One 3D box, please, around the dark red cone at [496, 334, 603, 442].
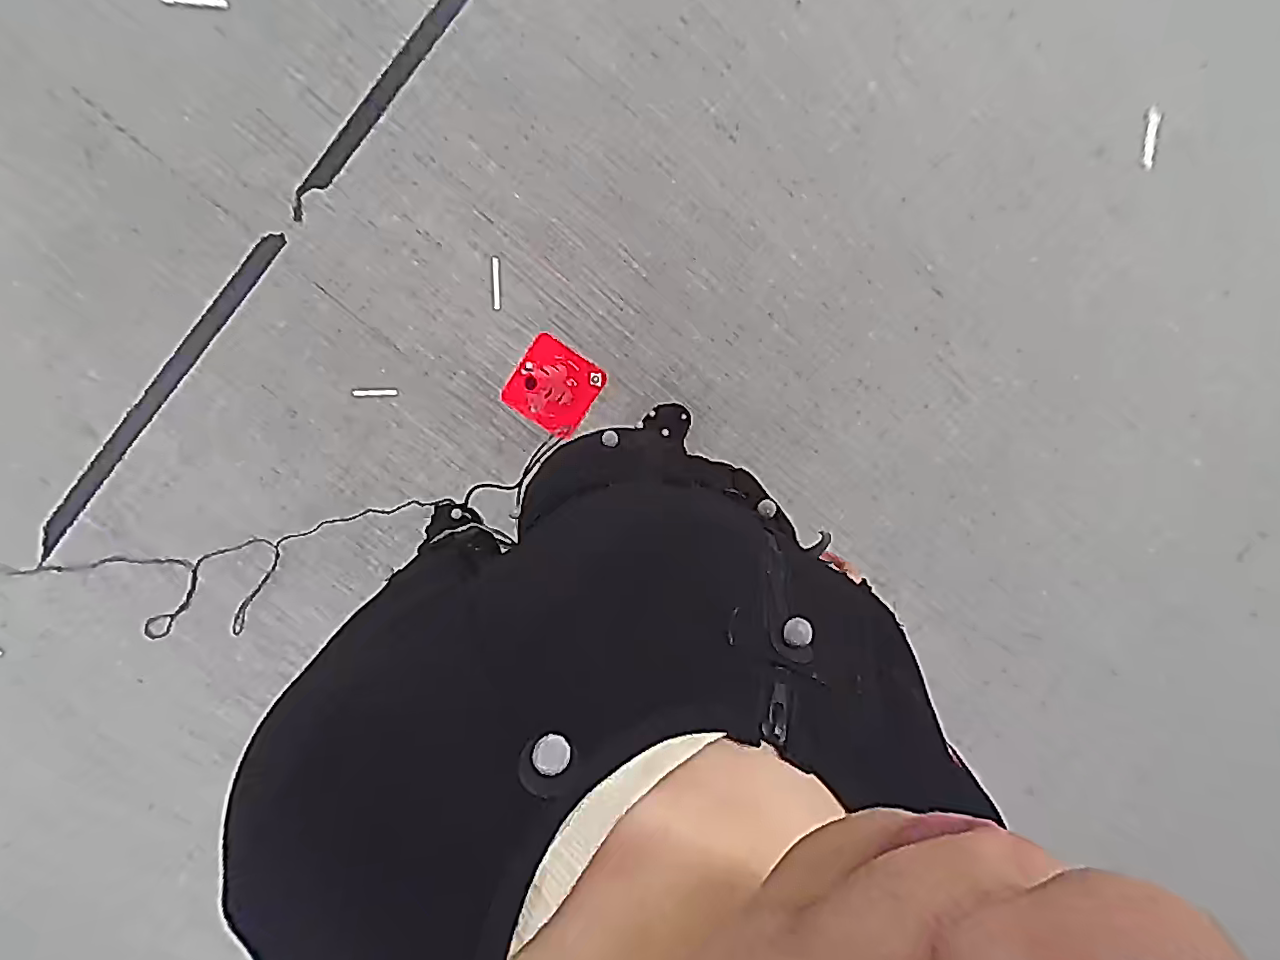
[{"bbox_3d":[-0.211,-0.192,1.116,0.201,0.394,0.202,32,96,-5],"label":"dark red cone"}]
